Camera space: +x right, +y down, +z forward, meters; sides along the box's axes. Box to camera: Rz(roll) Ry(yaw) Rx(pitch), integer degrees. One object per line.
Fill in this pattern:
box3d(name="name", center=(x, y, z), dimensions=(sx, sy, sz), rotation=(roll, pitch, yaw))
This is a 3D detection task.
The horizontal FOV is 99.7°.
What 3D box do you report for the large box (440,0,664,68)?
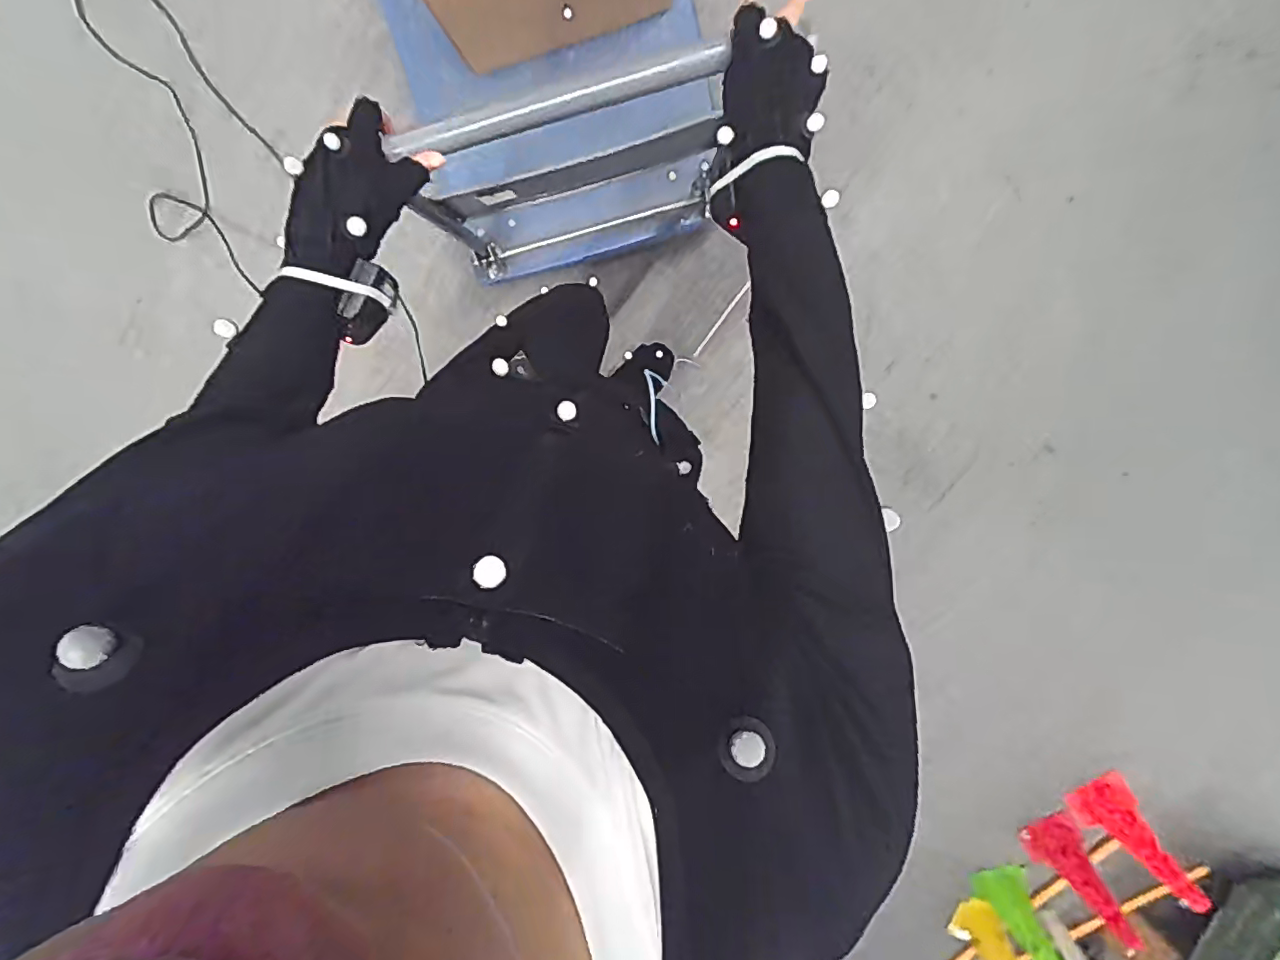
box3d(name="large box", center=(-0.159, -0.954, 0.864), dimensions=(0.408, 0.320, 0.320), rotation=(-17, 107, 5))
